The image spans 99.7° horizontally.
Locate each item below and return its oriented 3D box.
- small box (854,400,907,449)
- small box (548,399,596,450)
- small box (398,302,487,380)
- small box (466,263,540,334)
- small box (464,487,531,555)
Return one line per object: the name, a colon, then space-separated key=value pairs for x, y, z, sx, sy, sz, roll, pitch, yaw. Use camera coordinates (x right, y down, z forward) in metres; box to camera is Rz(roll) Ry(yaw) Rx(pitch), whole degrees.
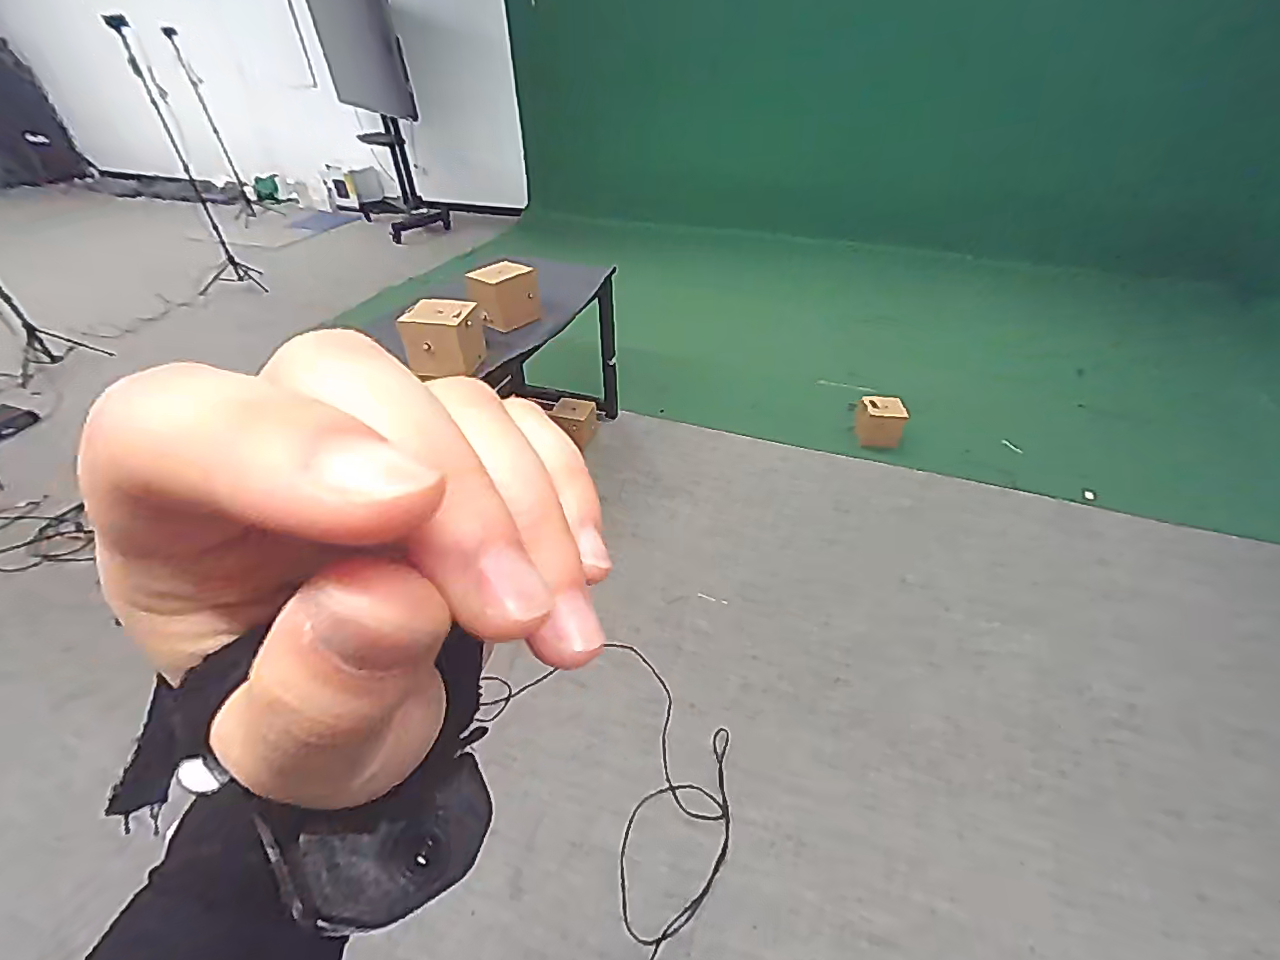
small box: x=1.119 y=-0.257 z=2.536 sx=0.179 sy=0.176 sz=0.168 roll=4 pitch=40 yaw=3
small box: x=-0.313 y=-0.258 z=2.540 sx=0.179 sy=0.176 sz=0.168 roll=10 pitch=40 yaw=12
small box: x=-0.571 y=-0.407 z=1.586 sx=0.179 sy=0.176 sz=0.168 roll=5 pitch=40 yaw=6
small box: x=-0.456 y=-0.617 z=1.838 sx=0.168 sy=0.176 sz=0.179 roll=26 pitch=48 yaw=32
small box: x=-0.532 y=0.158 z=2.049 sx=0.179 sy=0.176 sz=0.168 roll=16 pitch=43 yaw=19
